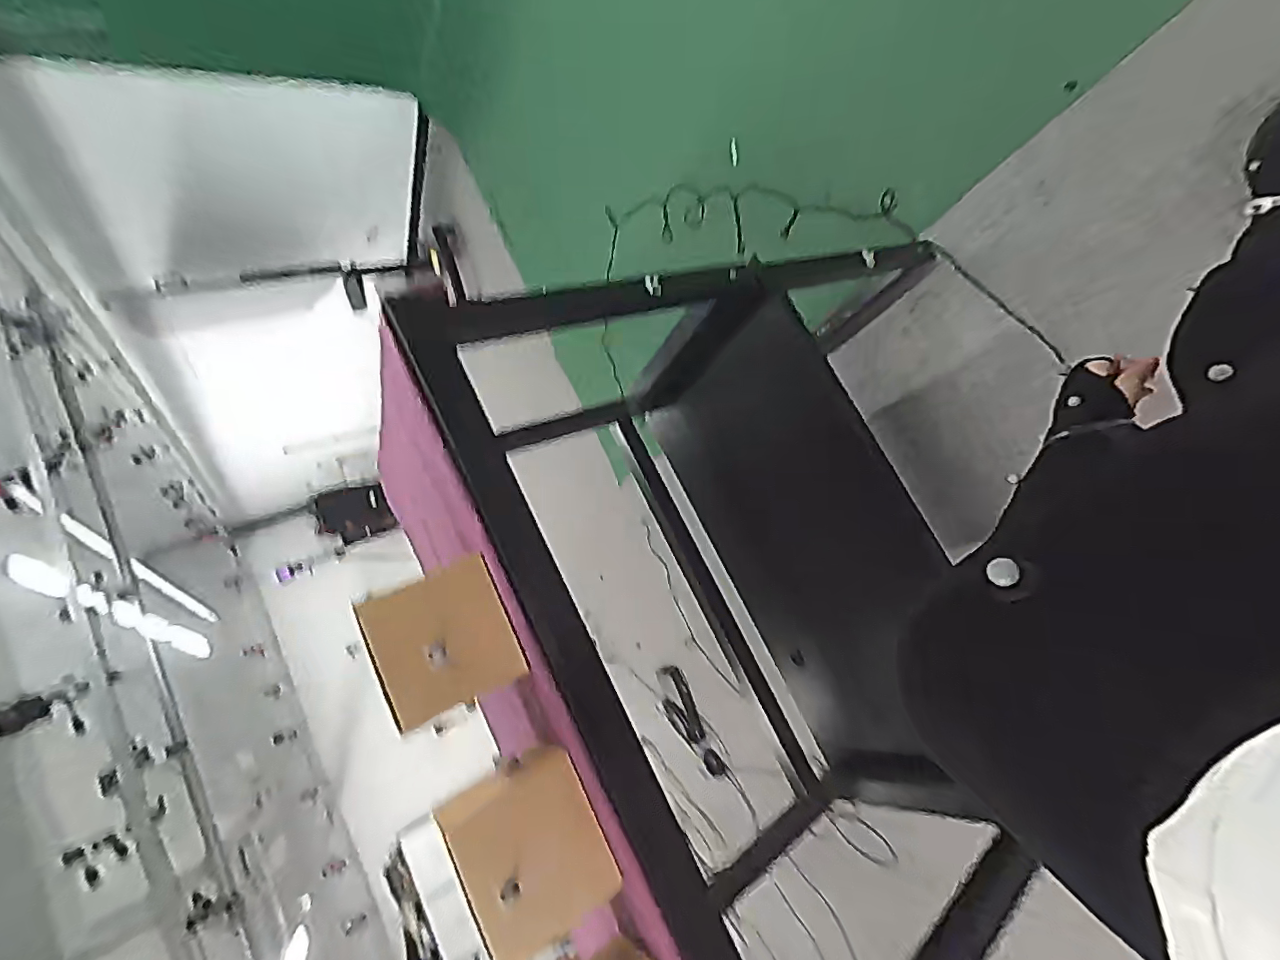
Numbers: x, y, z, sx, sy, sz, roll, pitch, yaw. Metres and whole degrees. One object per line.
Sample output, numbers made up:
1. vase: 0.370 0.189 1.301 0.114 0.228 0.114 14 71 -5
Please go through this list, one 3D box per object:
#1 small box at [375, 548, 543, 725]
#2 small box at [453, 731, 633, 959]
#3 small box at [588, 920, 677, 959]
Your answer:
1. small box: -0.260 0.220 0.776 0.179 0.176 0.168 64 149 8
2. small box: -0.132 0.470 0.727 0.179 0.176 0.168 65 150 9
3. small box: -0.004 0.714 0.671 0.179 0.176 0.168 64 150 10
